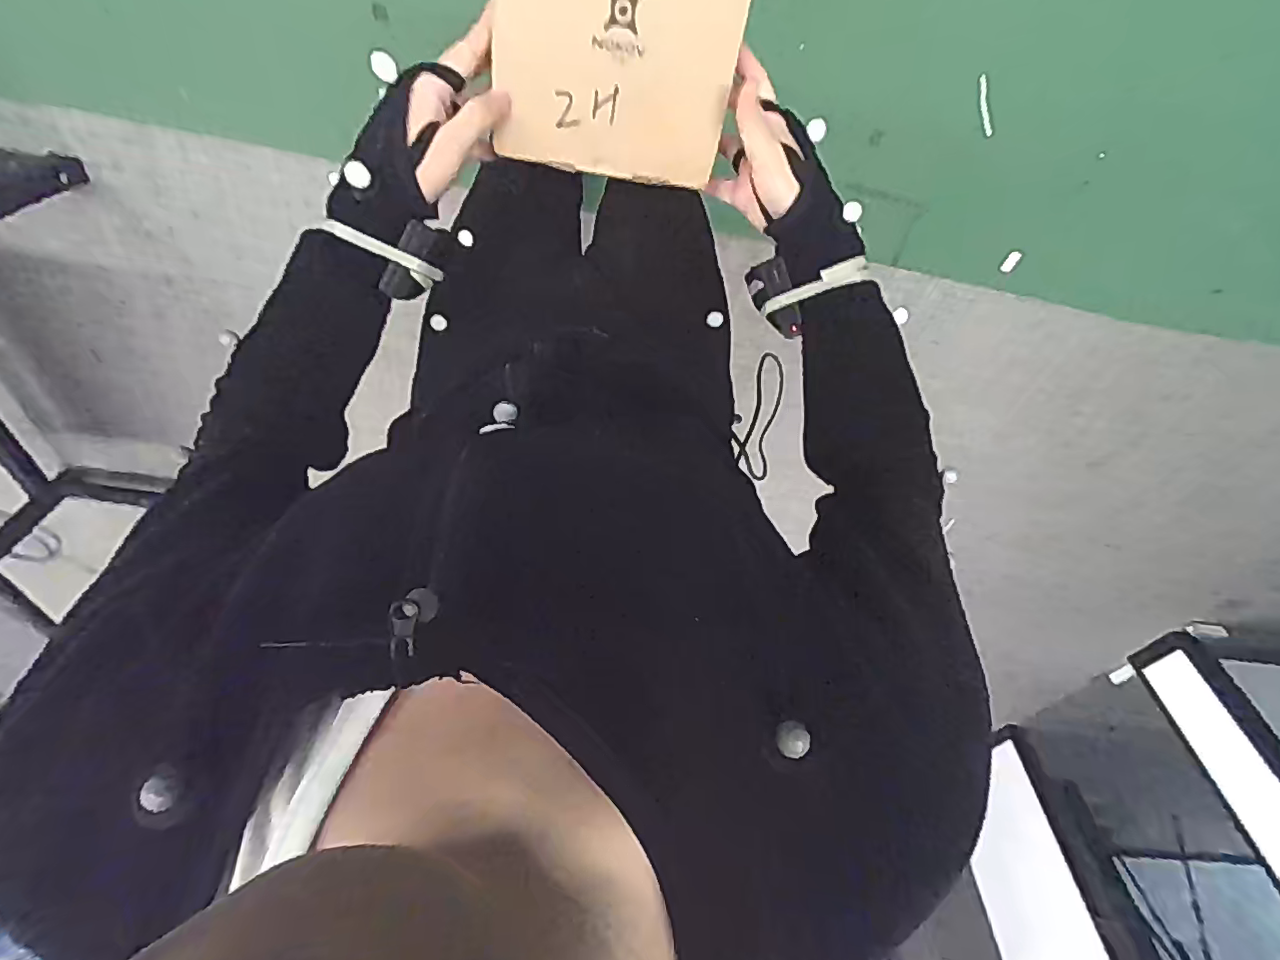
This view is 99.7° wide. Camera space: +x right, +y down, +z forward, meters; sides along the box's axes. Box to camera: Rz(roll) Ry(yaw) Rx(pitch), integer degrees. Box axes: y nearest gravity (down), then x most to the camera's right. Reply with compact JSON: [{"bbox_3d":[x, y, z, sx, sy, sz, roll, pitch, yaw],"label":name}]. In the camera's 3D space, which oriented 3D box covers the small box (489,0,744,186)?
[{"bbox_3d":[-0.024,-0.356,0.417,0.168,0.176,0.179,4,132,-11],"label":"small box"}]
